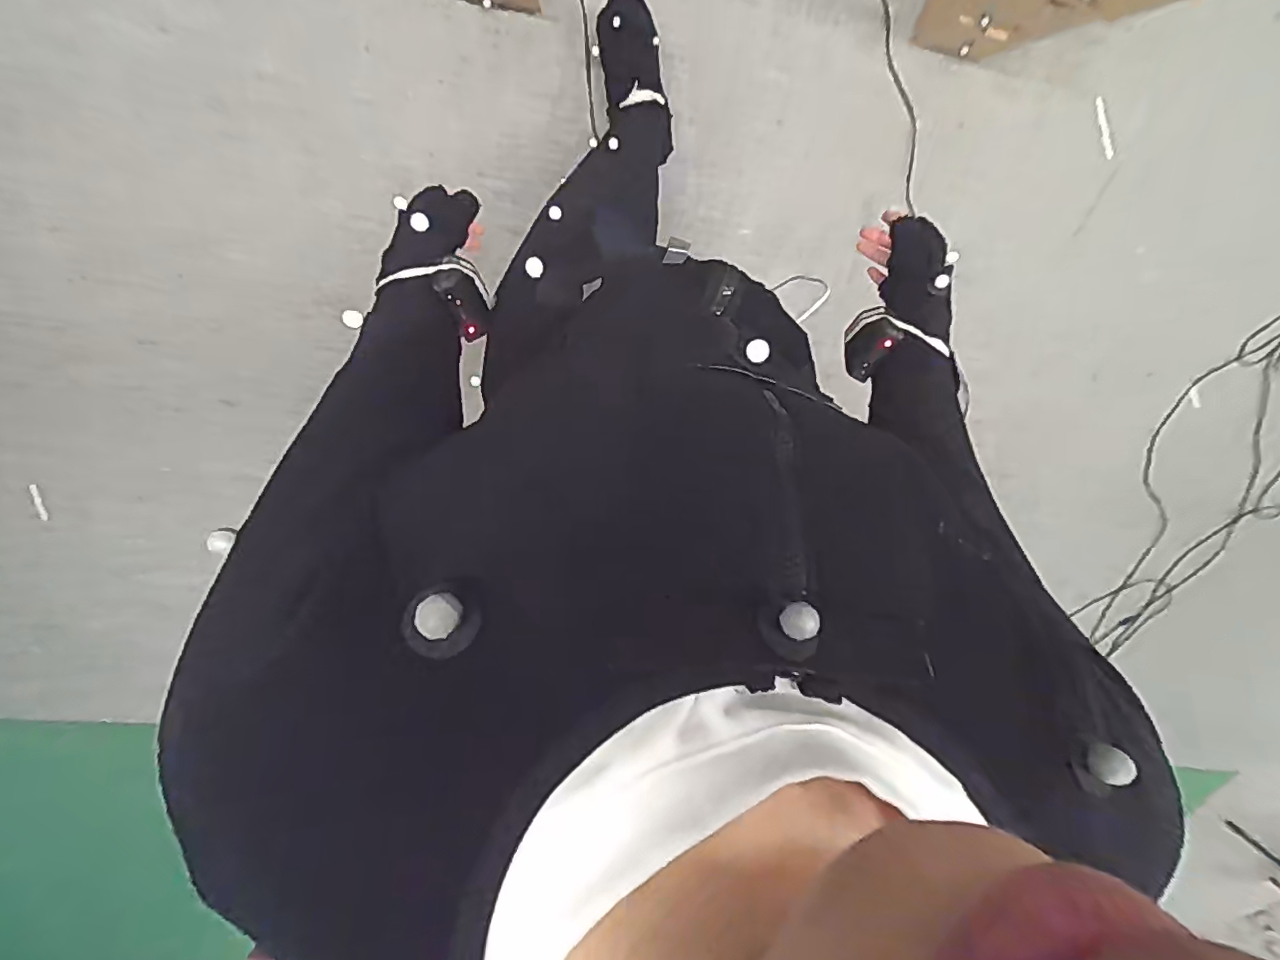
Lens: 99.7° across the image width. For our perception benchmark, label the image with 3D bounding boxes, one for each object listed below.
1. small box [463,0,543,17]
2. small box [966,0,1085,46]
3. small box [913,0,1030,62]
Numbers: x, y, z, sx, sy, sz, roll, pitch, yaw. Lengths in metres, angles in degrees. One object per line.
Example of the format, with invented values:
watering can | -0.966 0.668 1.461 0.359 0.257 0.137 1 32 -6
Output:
small box | -0.251 -0.943 0.928 0.168 0.176 0.179 6 119 -8
small box | 0.679 -0.850 0.884 0.168 0.176 0.179 9 117 -11
small box | 0.658 -0.927 1.030 0.168 0.176 0.179 5 120 -12
